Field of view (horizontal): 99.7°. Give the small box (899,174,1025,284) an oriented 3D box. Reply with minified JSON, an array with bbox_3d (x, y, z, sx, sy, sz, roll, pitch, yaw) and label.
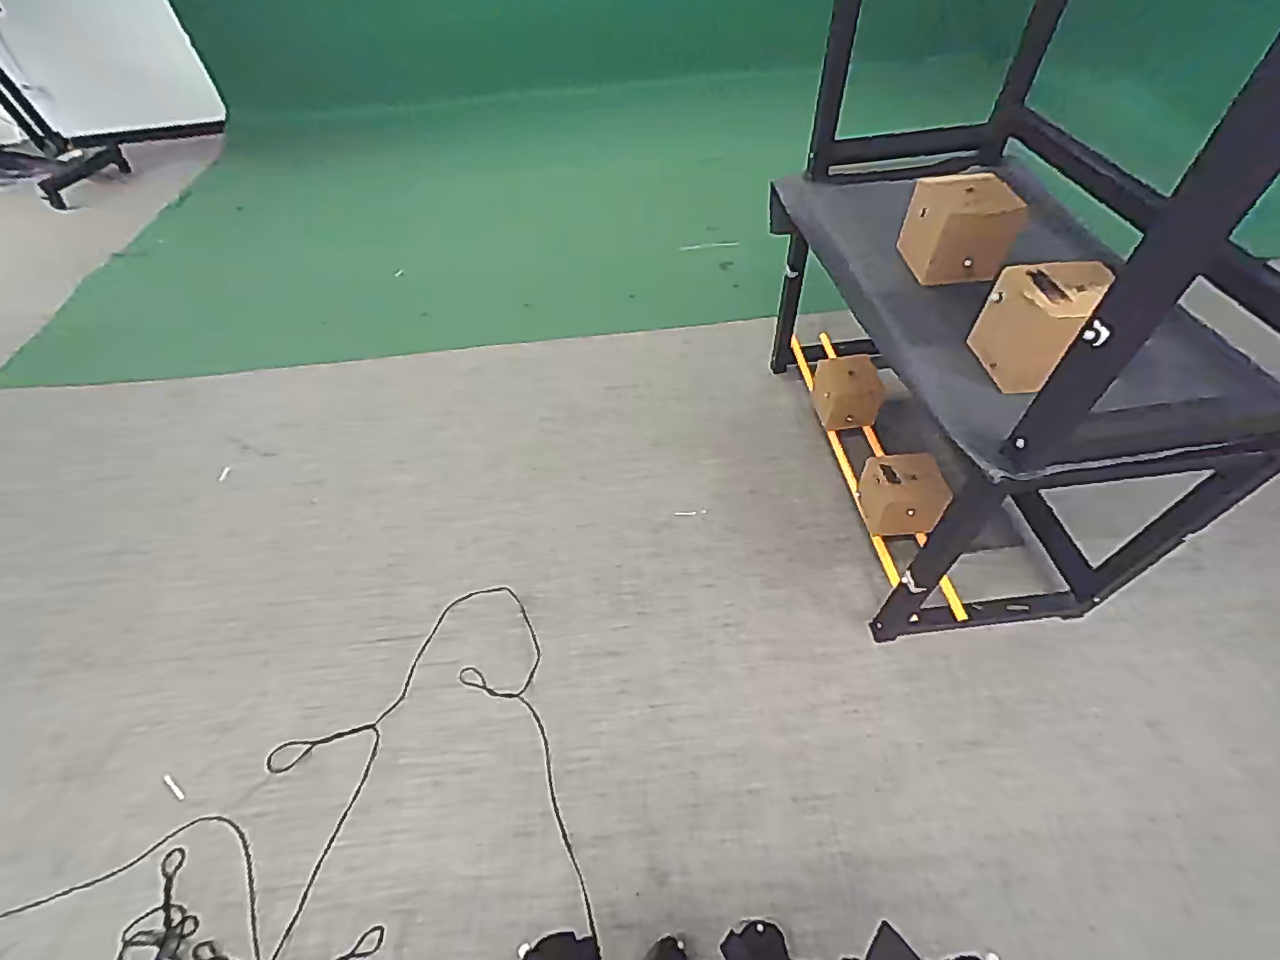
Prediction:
[{"bbox_3d":[0.722,-0.574,1.241,0.168,0.176,0.179,-4,52,1],"label":"small box"}]

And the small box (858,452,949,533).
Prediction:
[{"bbox_3d":[0.741,0.041,1.548,0.179,0.176,0.168,-4,52,2],"label":"small box"}]
